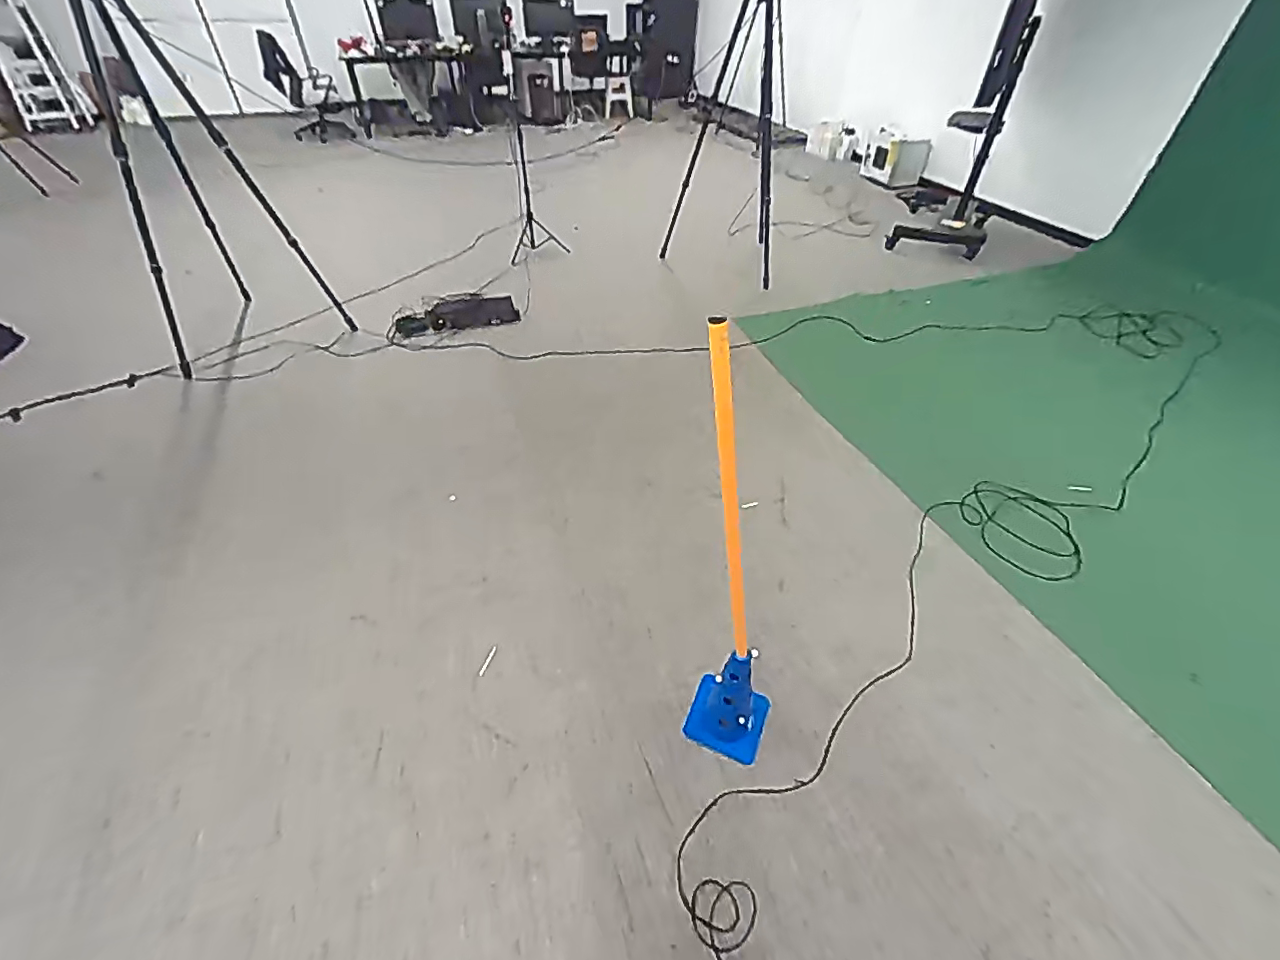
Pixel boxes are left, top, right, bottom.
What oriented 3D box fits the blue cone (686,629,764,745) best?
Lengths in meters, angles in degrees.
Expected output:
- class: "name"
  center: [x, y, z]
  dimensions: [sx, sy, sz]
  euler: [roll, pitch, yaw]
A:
- class: "blue cone"
  center: [0.231, 0.500, 1.372]
  dimensions: [0.193, 0.380, 0.192]
  euler: [16, 47, 17]
